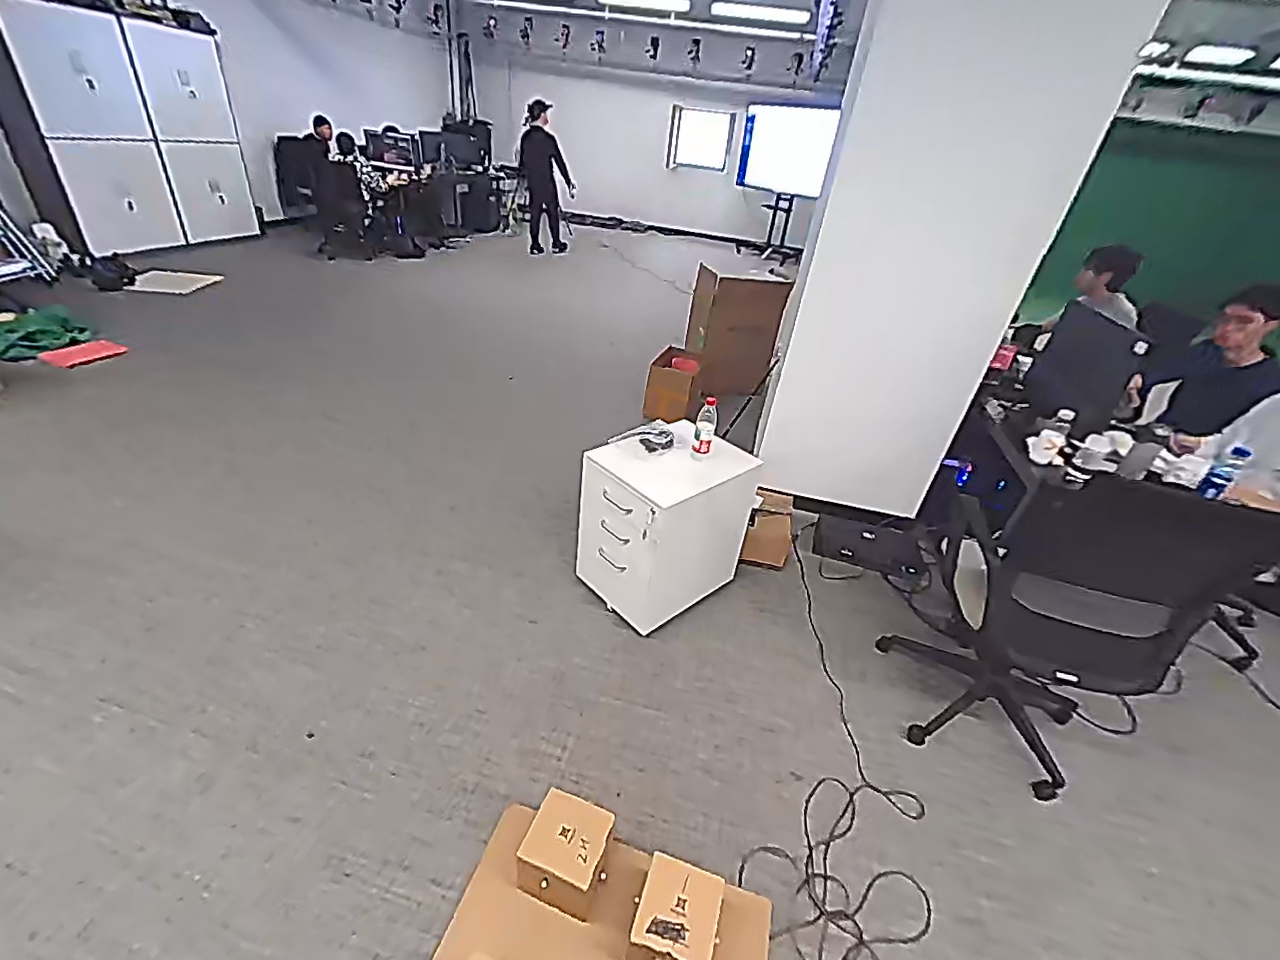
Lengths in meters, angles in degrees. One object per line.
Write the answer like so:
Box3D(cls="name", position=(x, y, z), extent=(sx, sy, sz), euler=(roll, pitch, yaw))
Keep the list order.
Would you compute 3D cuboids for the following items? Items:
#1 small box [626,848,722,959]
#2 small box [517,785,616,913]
Box3D(cls="small box", position=(0.074, 0.967, 1.185), extent=(0.168, 0.176, 0.179), euler=(14, 32, 14))
Box3D(cls="small box", position=(-0.174, 0.873, 1.278), extent=(0.179, 0.176, 0.168), euler=(16, 34, 14))
